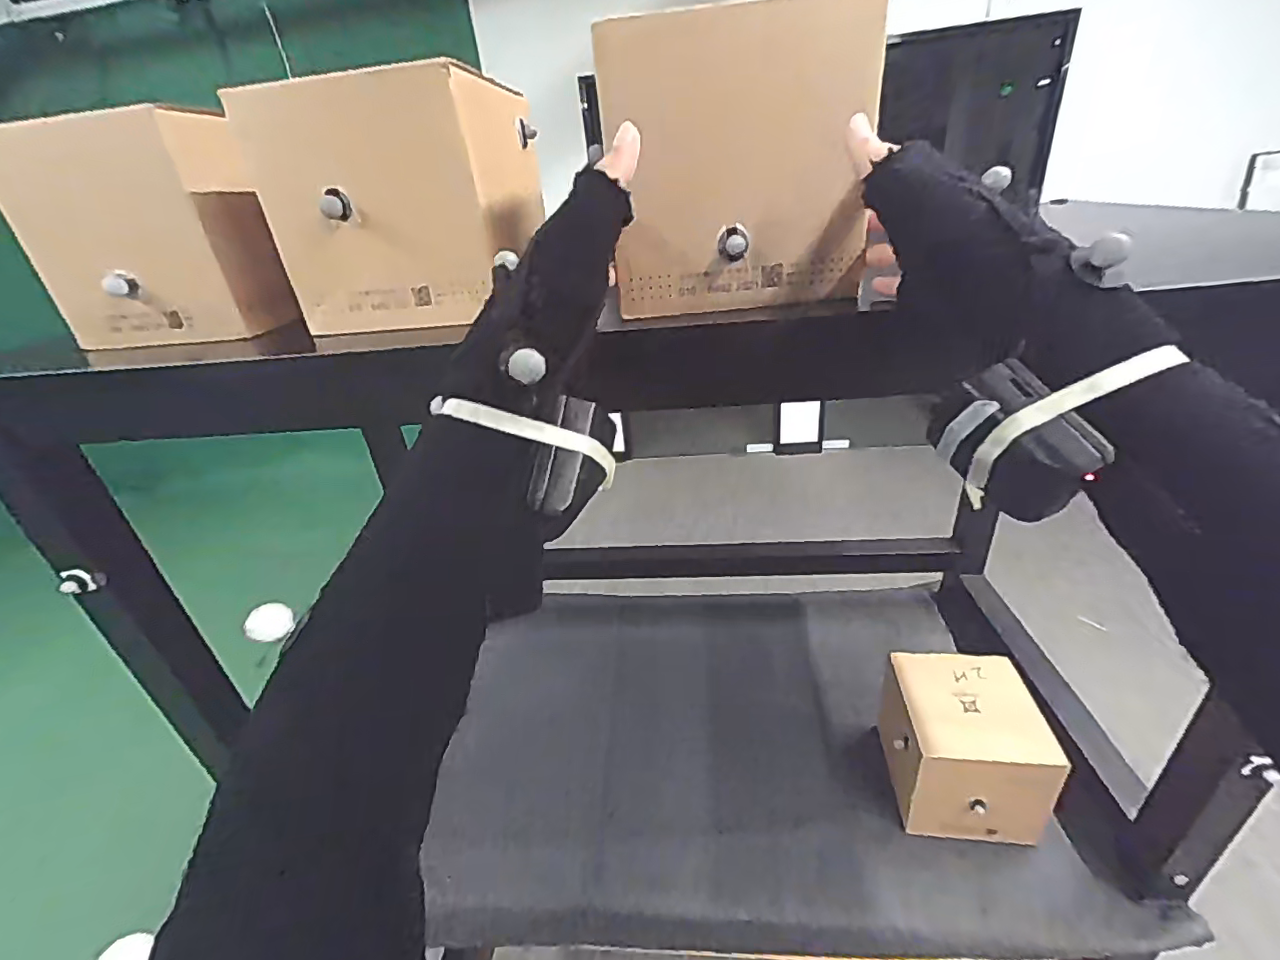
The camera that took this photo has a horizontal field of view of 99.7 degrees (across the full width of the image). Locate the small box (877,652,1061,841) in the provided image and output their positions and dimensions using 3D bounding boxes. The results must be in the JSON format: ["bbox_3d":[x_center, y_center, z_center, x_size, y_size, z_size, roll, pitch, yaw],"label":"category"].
[{"bbox_3d":[0.445,0.371,0.764,0.168,0.176,0.179,0,28,10],"label":"small box"}]

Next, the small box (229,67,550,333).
[{"bbox_3d":[-0.185,-0.228,0.468,0.168,0.176,0.179,-1,28,8],"label":"small box"}]

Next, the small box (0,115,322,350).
[{"bbox_3d":[-0.408,-0.227,0.509,0.168,0.176,0.179,-2,29,8],"label":"small box"}]
